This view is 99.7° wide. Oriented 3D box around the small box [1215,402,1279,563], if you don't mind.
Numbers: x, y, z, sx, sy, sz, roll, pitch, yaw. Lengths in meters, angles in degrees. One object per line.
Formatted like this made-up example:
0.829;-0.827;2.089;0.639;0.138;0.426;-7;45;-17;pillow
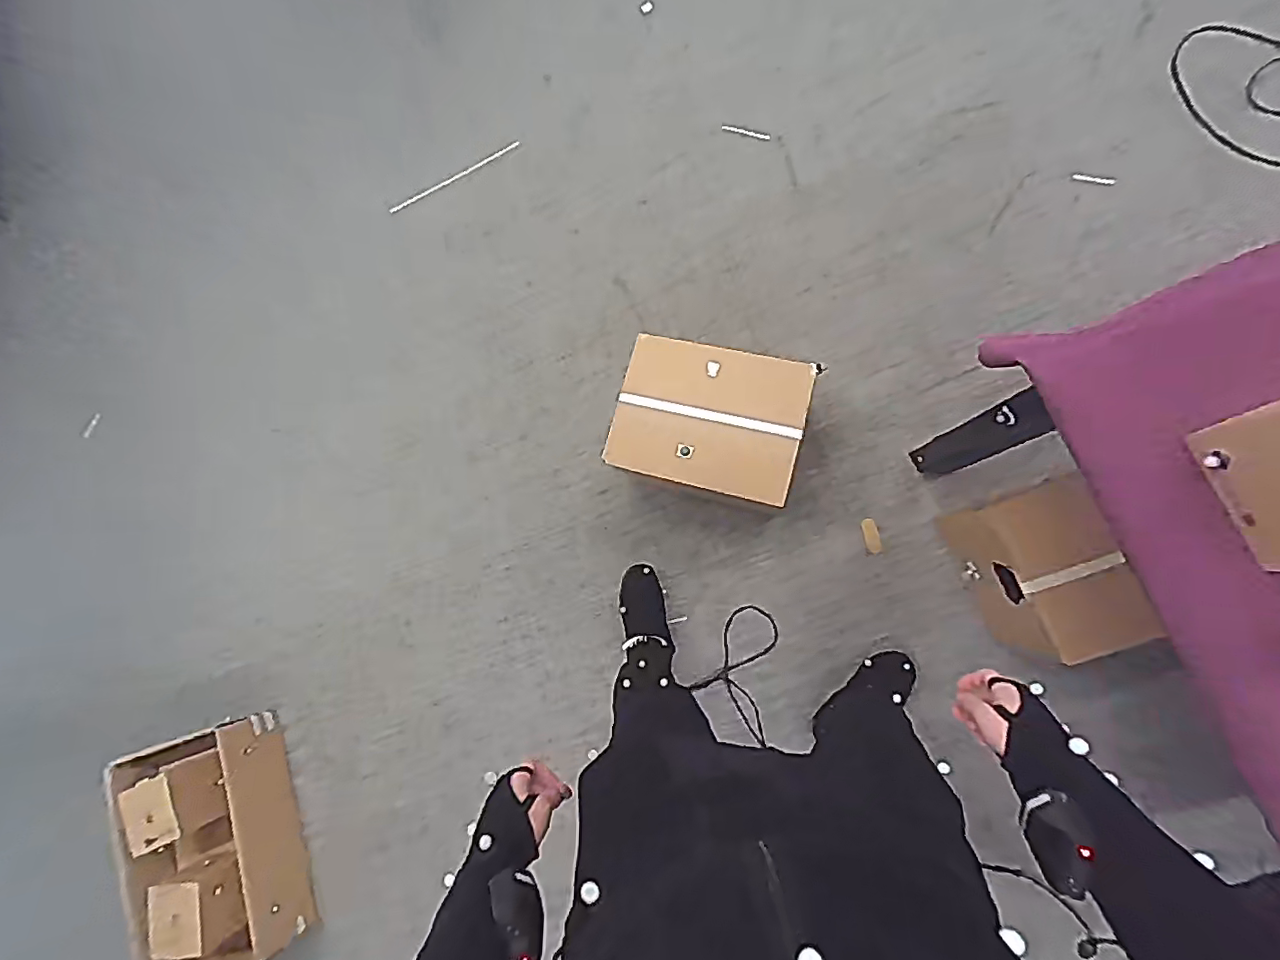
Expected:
0.713;-0.017;0.503;0.179;0.176;0.168;-23;80;7;small box

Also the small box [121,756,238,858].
-1.283;0.902;1.514;0.168;0.176;0.179;-25;80;7;small box

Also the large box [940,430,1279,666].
0.933;0.142;1.121;0.408;0.320;0.320;-22;80;7;large box
